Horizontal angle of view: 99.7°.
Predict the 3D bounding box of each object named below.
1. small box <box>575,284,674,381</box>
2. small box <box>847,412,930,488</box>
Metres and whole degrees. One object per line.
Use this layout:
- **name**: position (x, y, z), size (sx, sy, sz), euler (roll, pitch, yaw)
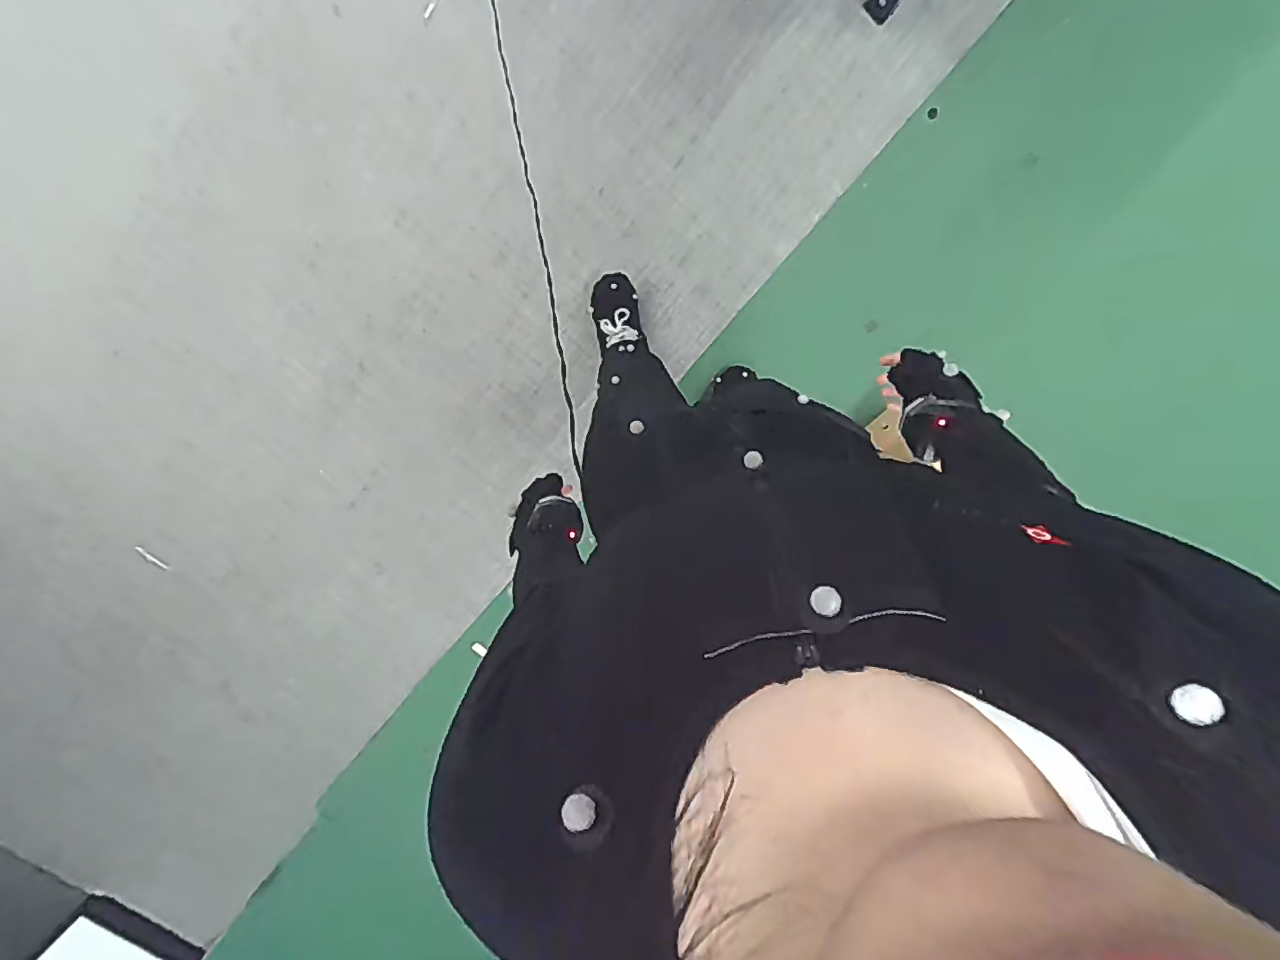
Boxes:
- **small box**: position (-0.041, -0.365, 1.328), size (0.179, 0.176, 0.168), euler (31, 118, 4)
- **small box**: position (0.662, -0.058, 1.377), size (0.168, 0.176, 0.179), euler (-43, 100, 12)
